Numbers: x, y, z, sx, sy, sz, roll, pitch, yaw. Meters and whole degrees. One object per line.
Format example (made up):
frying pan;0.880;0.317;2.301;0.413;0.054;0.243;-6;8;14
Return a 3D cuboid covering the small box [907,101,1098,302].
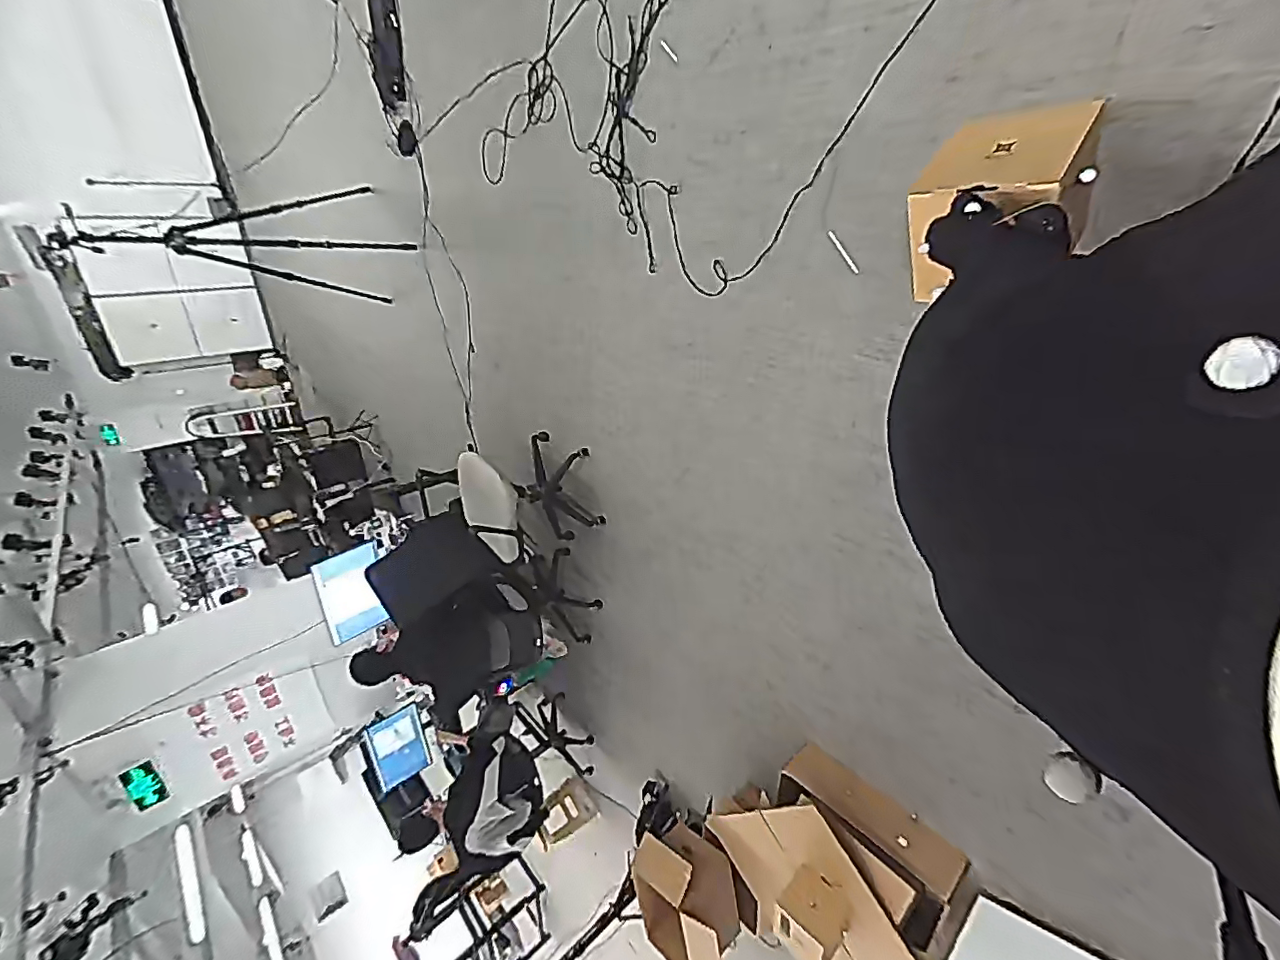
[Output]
small box;0.485;-0.370;0.738;0.168;0.179;0.176;19;155;41
